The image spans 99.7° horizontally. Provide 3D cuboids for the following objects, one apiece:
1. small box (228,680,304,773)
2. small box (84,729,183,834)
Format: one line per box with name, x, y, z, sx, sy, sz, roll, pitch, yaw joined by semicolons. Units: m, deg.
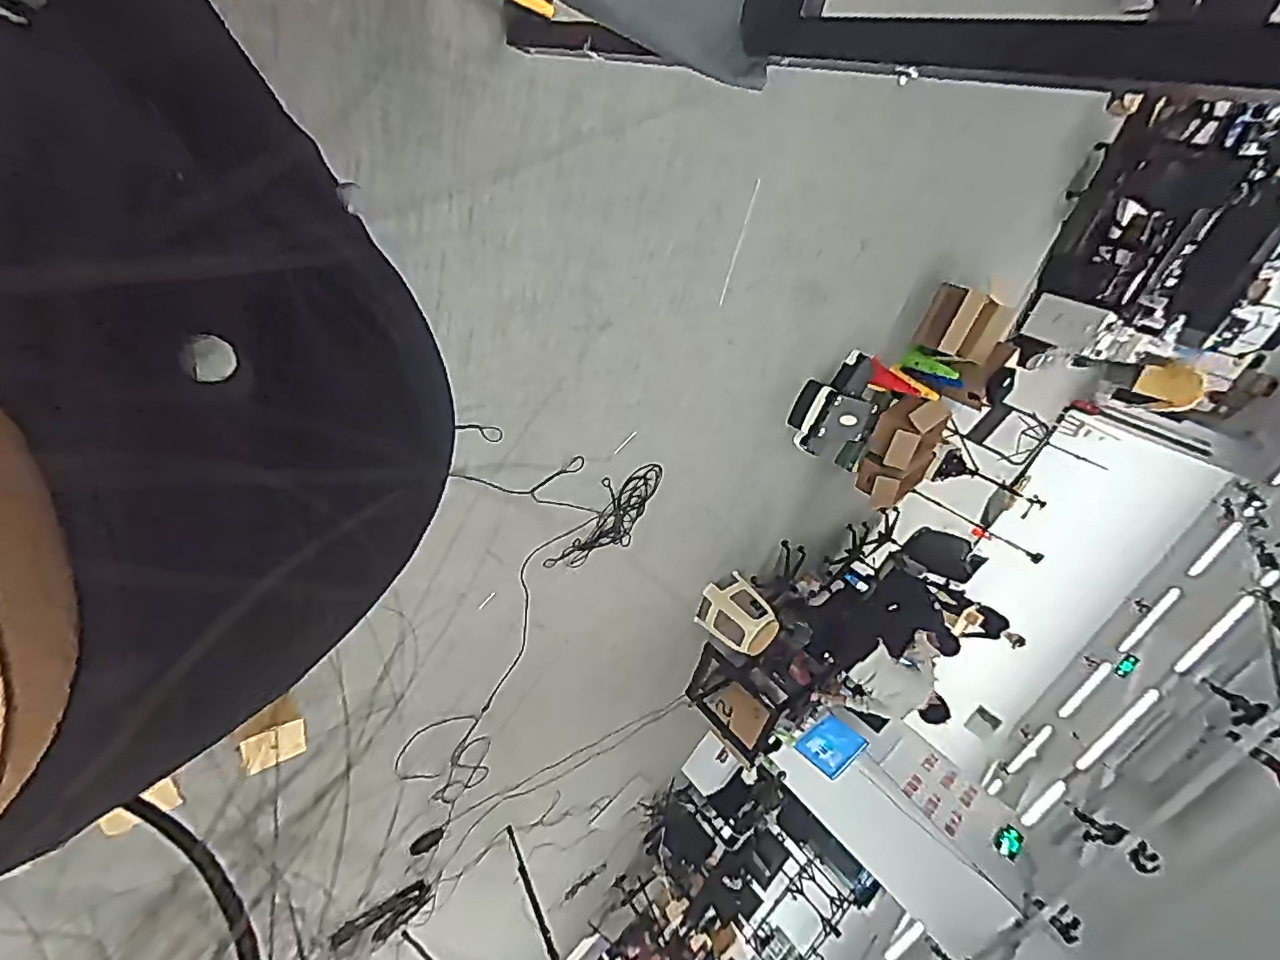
small box;-1.201;0.787;1.741;0.168;0.176;0.179;-15;129;-41
small box;-1.434;0.840;1.530;0.168;0.176;0.179;-18;133;-37
